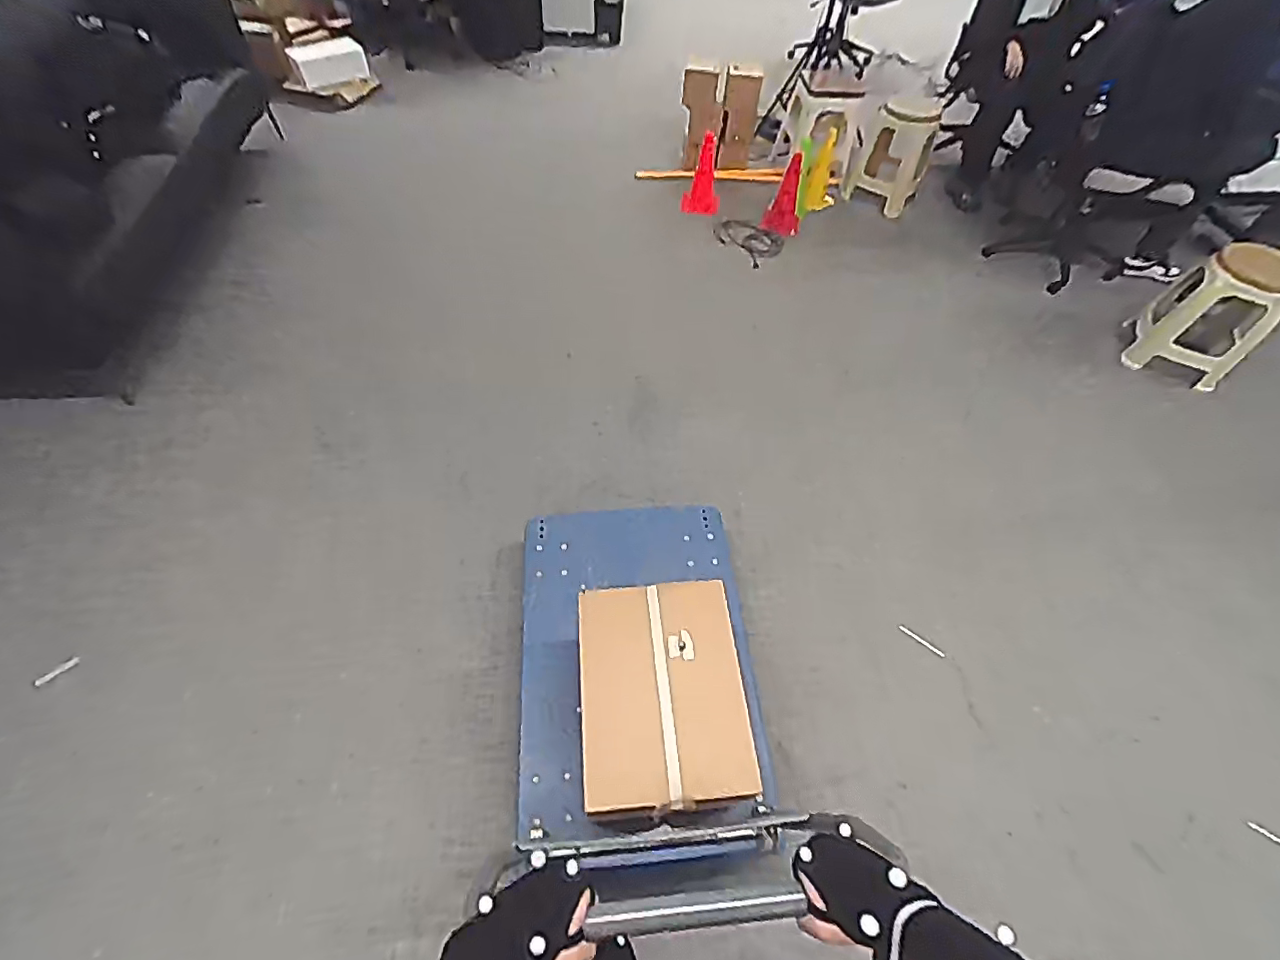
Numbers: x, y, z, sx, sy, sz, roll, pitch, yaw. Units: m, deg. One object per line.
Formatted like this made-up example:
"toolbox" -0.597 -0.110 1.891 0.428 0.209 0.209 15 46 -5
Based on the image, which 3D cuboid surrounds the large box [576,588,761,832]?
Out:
"large box" 0.036 0.493 1.162 0.320 0.320 0.408 -3 54 -6
